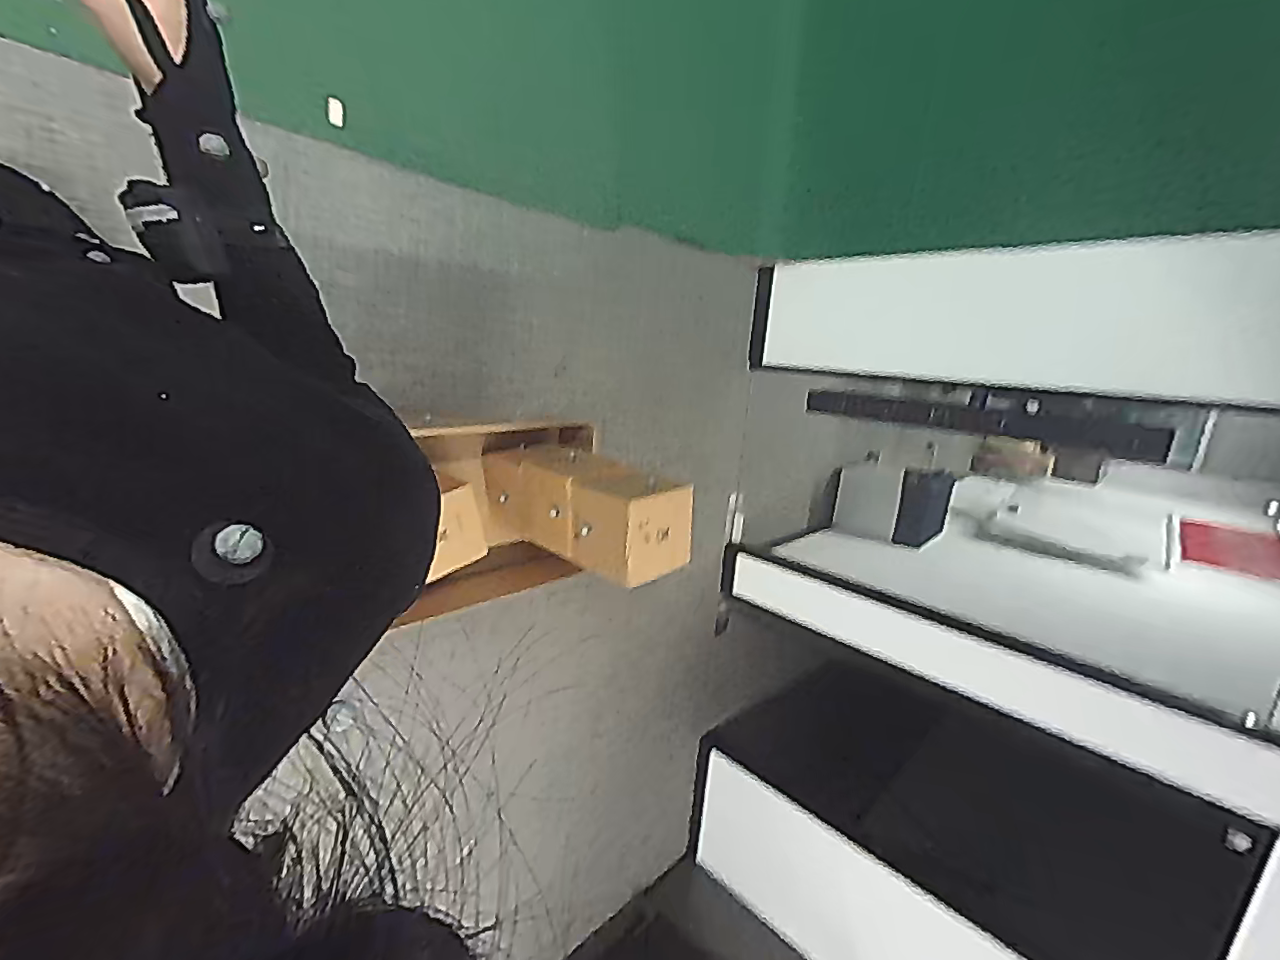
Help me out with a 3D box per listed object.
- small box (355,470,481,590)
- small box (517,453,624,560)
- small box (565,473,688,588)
[{"bbox_3d":[-0.458,0.093,1.106,0.179,0.176,0.168,-25,120,-40],"label":"small box"},{"bbox_3d":[-0.152,0.050,1.170,0.168,0.176,0.179,-15,111,-43],"label":"small box"},{"bbox_3d":[-0.028,0.089,1.067,0.179,0.176,0.168,-12,109,-43],"label":"small box"}]
